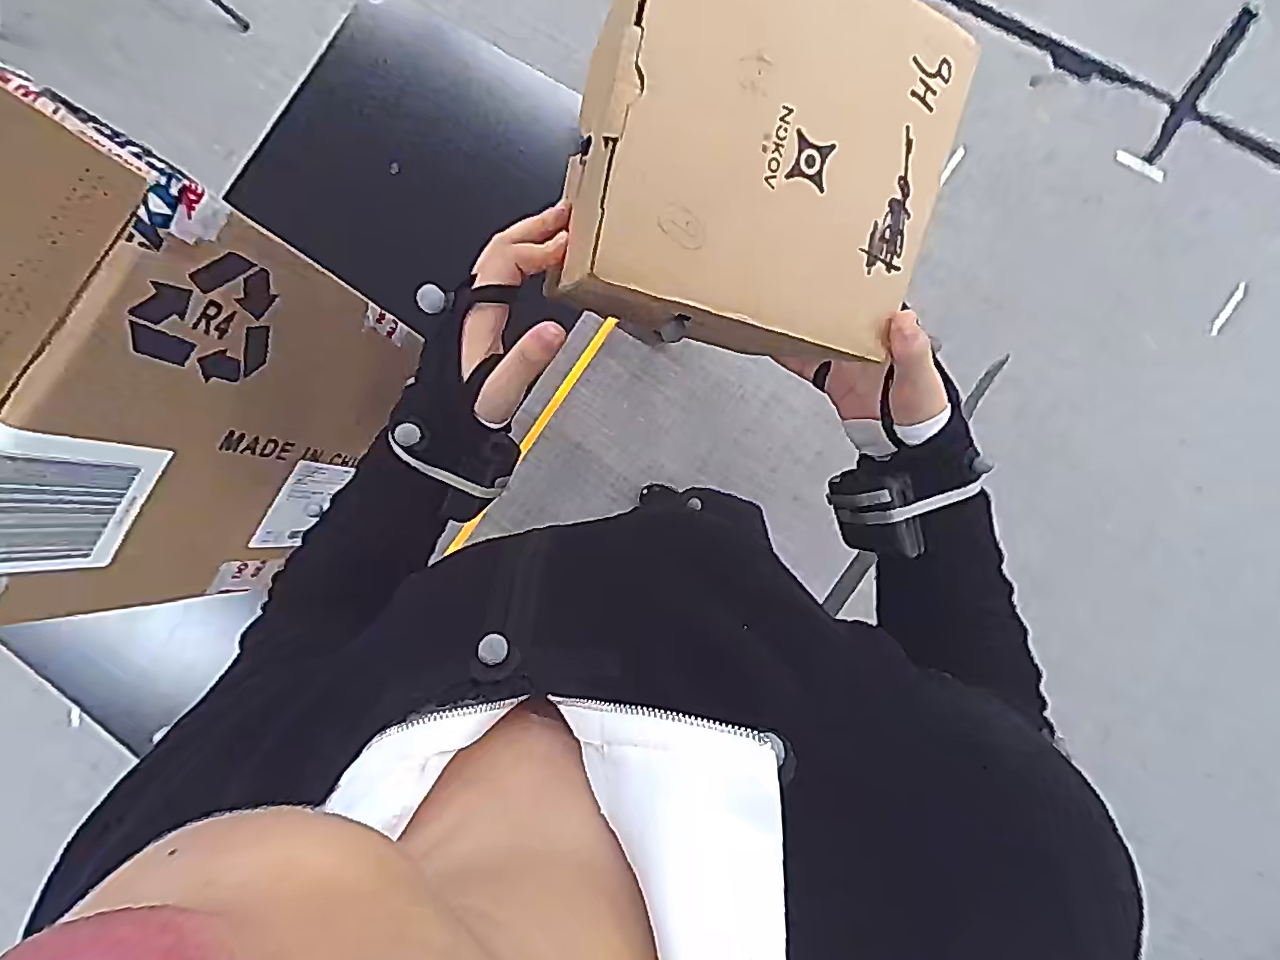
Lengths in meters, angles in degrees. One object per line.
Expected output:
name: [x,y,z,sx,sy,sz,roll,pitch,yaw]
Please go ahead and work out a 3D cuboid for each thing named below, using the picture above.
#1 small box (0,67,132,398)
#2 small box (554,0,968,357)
small box: [-0.411,-0.163,0.257,0.168,0.176,0.179,32,89,7]
small box: [0.050,-0.181,0.344,0.179,0.176,0.168,11,101,-18]
